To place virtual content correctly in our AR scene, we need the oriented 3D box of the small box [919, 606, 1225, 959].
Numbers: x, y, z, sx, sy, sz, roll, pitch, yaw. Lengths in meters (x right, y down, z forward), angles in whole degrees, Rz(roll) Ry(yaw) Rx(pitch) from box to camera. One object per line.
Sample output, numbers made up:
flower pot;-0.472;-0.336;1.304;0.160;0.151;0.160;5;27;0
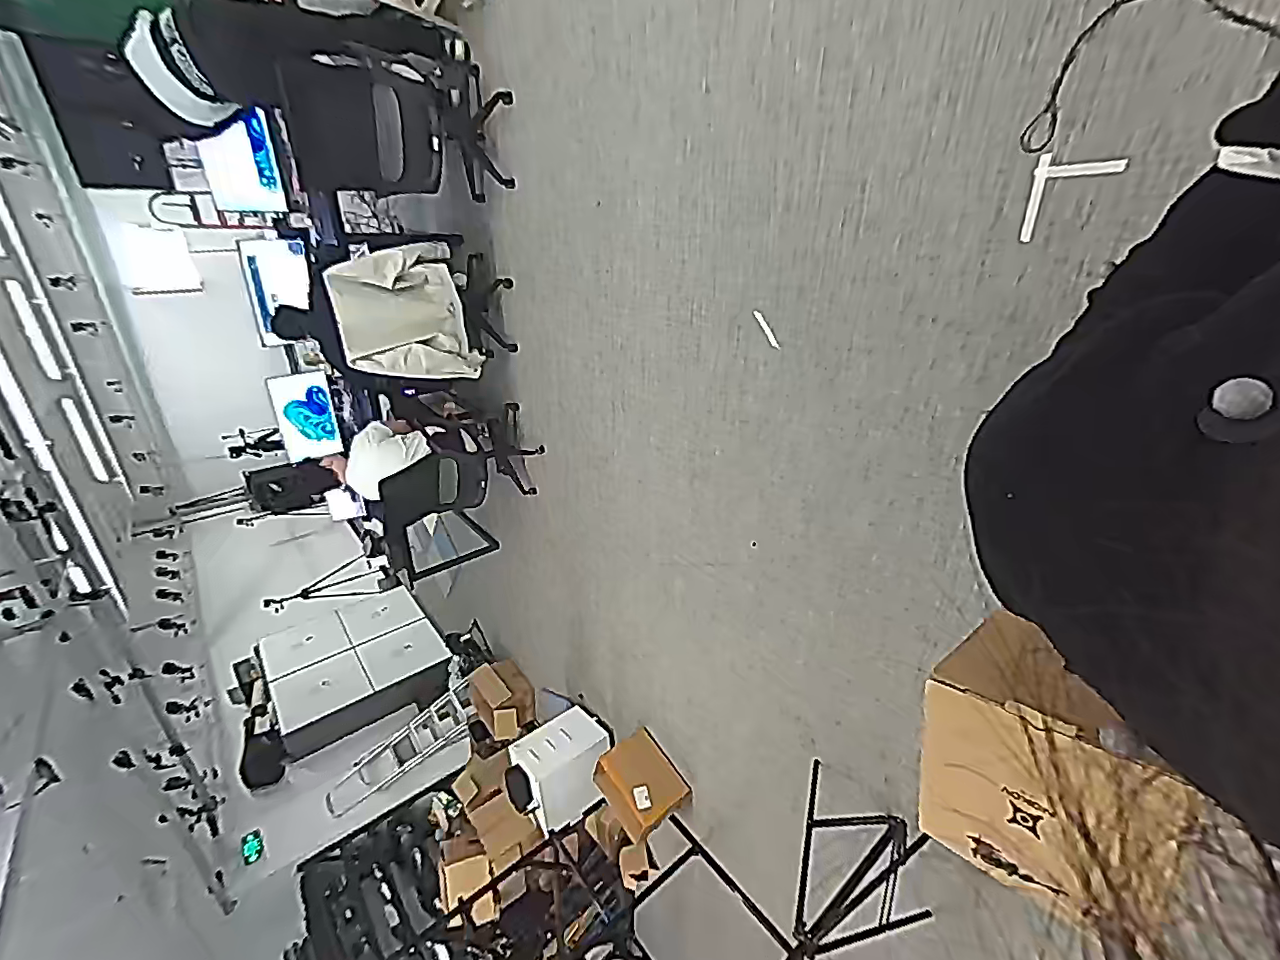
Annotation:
small box;0.372;0.236;0.474;0.168;0.176;0.179;15;116;51
